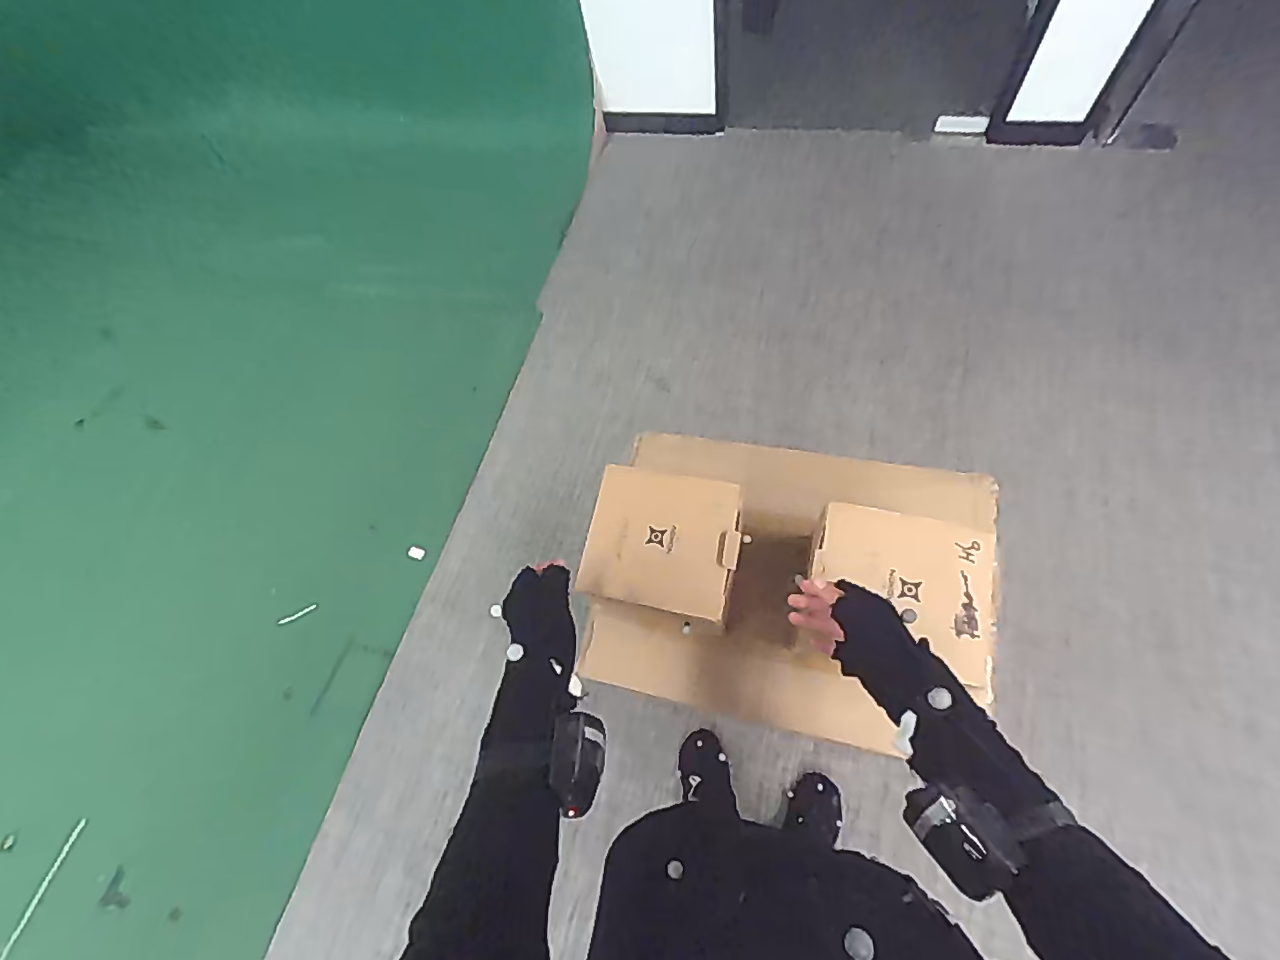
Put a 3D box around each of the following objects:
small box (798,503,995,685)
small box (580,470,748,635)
[{"bbox_3d":[0.295,0.144,0.654,0.179,0.176,0.168,11,72,14],"label":"small box"},{"bbox_3d":[0.043,0.103,0.716,0.179,0.176,0.168,8,70,14],"label":"small box"}]
